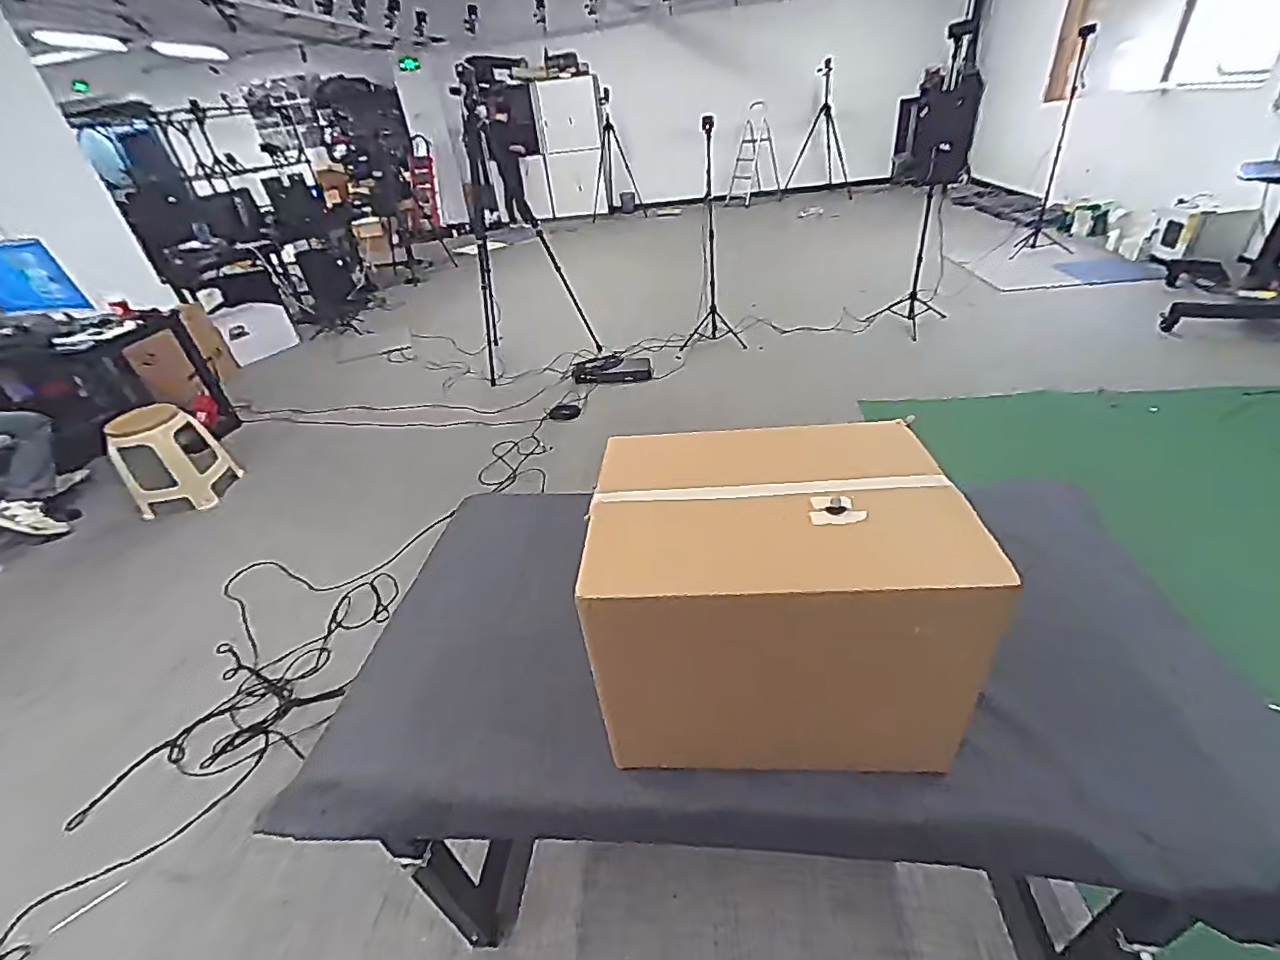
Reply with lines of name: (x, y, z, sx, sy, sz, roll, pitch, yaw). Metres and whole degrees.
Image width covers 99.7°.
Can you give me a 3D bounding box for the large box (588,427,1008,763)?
large box: (0.161, 0.144, 0.715, 0.408, 0.320, 0.320, -2, 34, 5)
